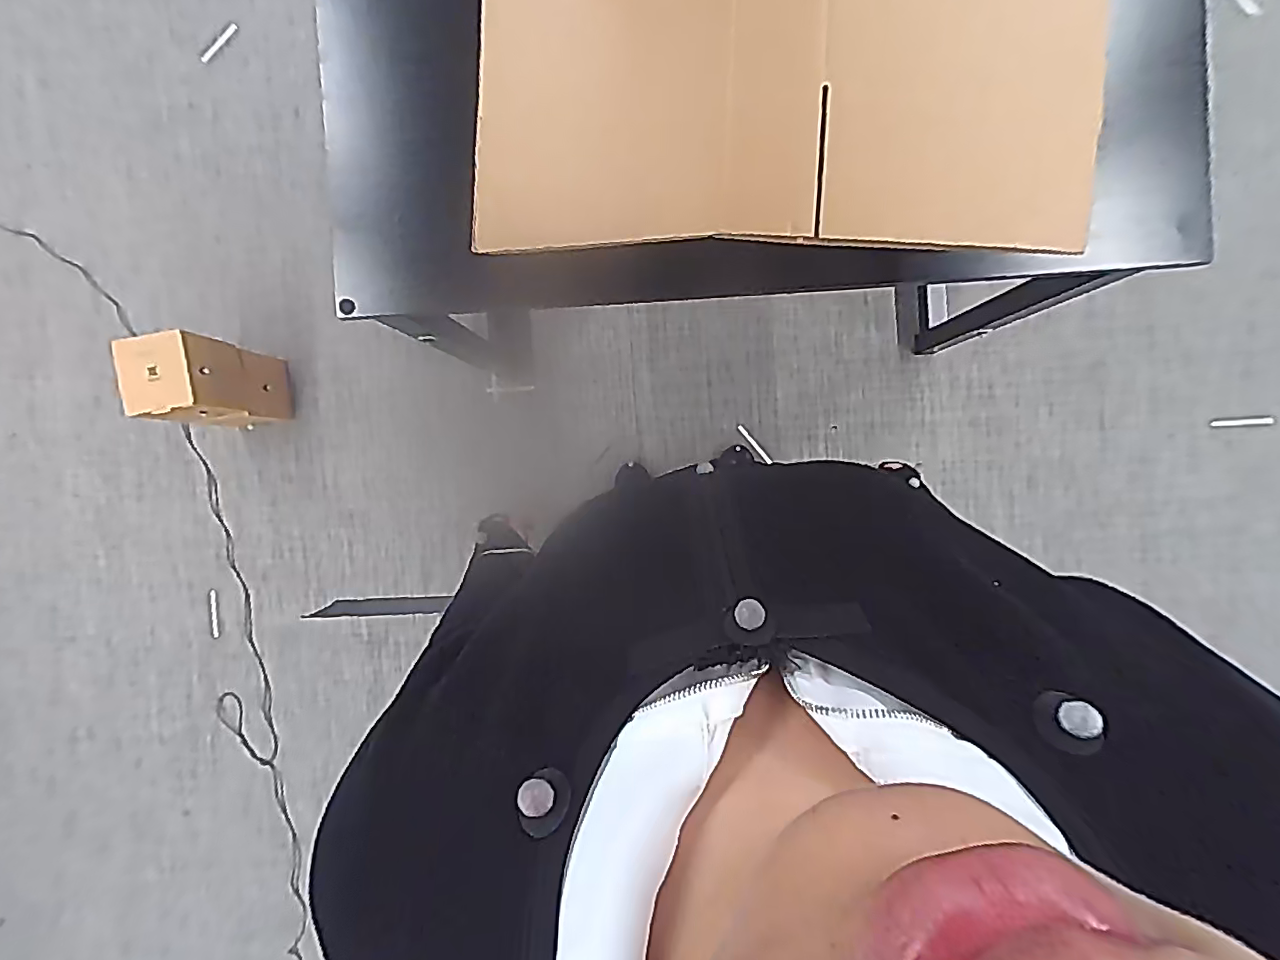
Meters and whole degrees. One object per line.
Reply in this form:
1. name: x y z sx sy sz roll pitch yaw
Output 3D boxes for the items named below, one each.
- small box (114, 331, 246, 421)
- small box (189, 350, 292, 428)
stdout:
1. small box: -1.088 -0.239 1.294 0.168 0.176 0.179 -10 91 2
2. small box: -1.079 -0.239 1.457 0.168 0.176 0.179 -7 92 3
